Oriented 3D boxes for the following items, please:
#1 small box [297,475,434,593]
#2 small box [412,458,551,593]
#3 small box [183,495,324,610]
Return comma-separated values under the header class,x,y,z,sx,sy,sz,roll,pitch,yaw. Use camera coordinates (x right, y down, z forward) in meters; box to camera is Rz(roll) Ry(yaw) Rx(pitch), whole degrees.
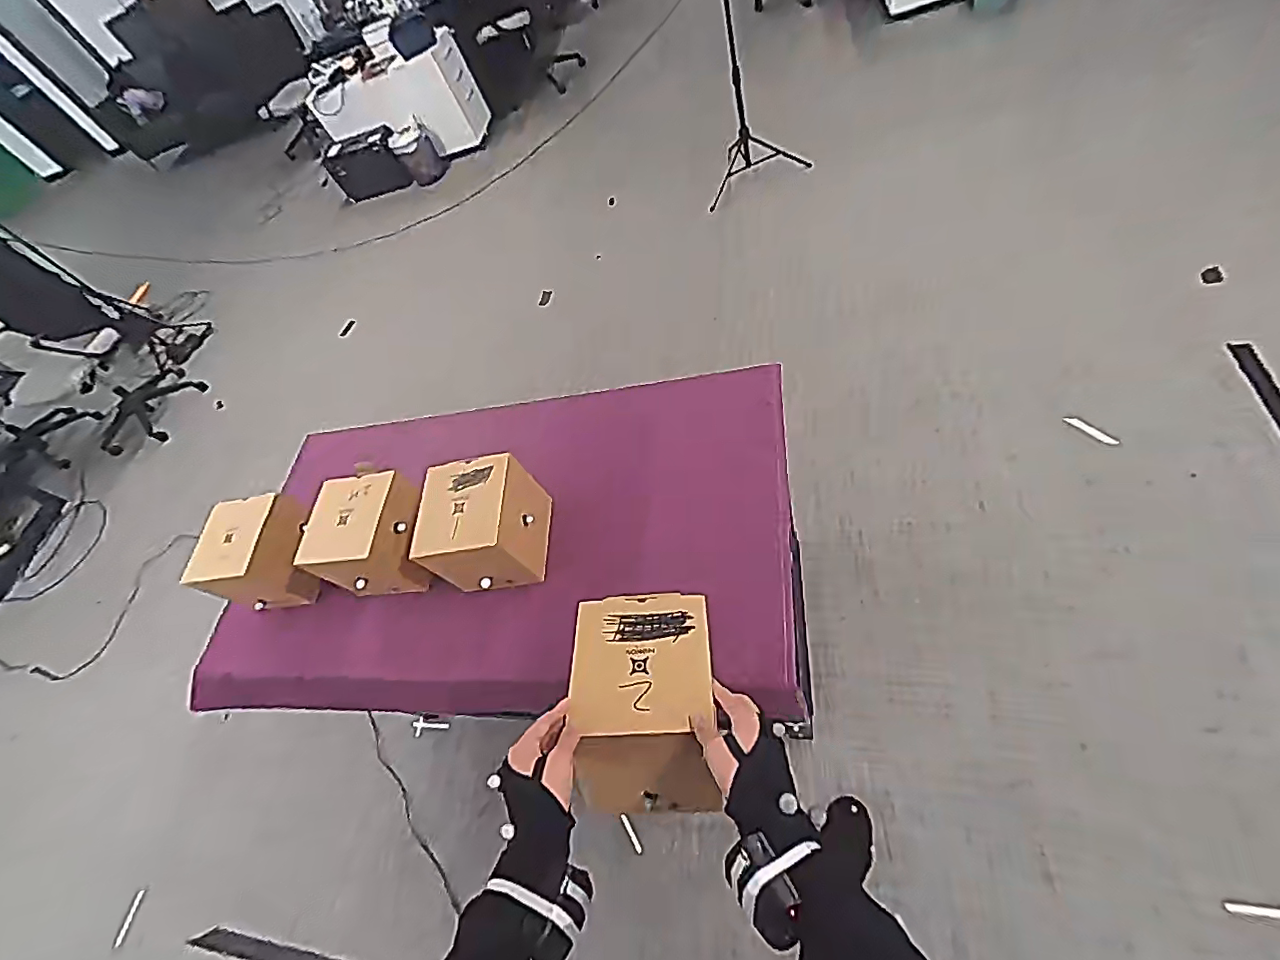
class,x,y,z,sx,sy,sz,roll,pitch,yaw
small box,-0.503,0.112,1.043,0.168,0.176,0.179,-6,57,16
small box,-0.273,0.087,0.975,0.168,0.176,0.179,-9,57,15
small box,-0.765,0.154,1.115,0.168,0.176,0.179,-8,56,16
